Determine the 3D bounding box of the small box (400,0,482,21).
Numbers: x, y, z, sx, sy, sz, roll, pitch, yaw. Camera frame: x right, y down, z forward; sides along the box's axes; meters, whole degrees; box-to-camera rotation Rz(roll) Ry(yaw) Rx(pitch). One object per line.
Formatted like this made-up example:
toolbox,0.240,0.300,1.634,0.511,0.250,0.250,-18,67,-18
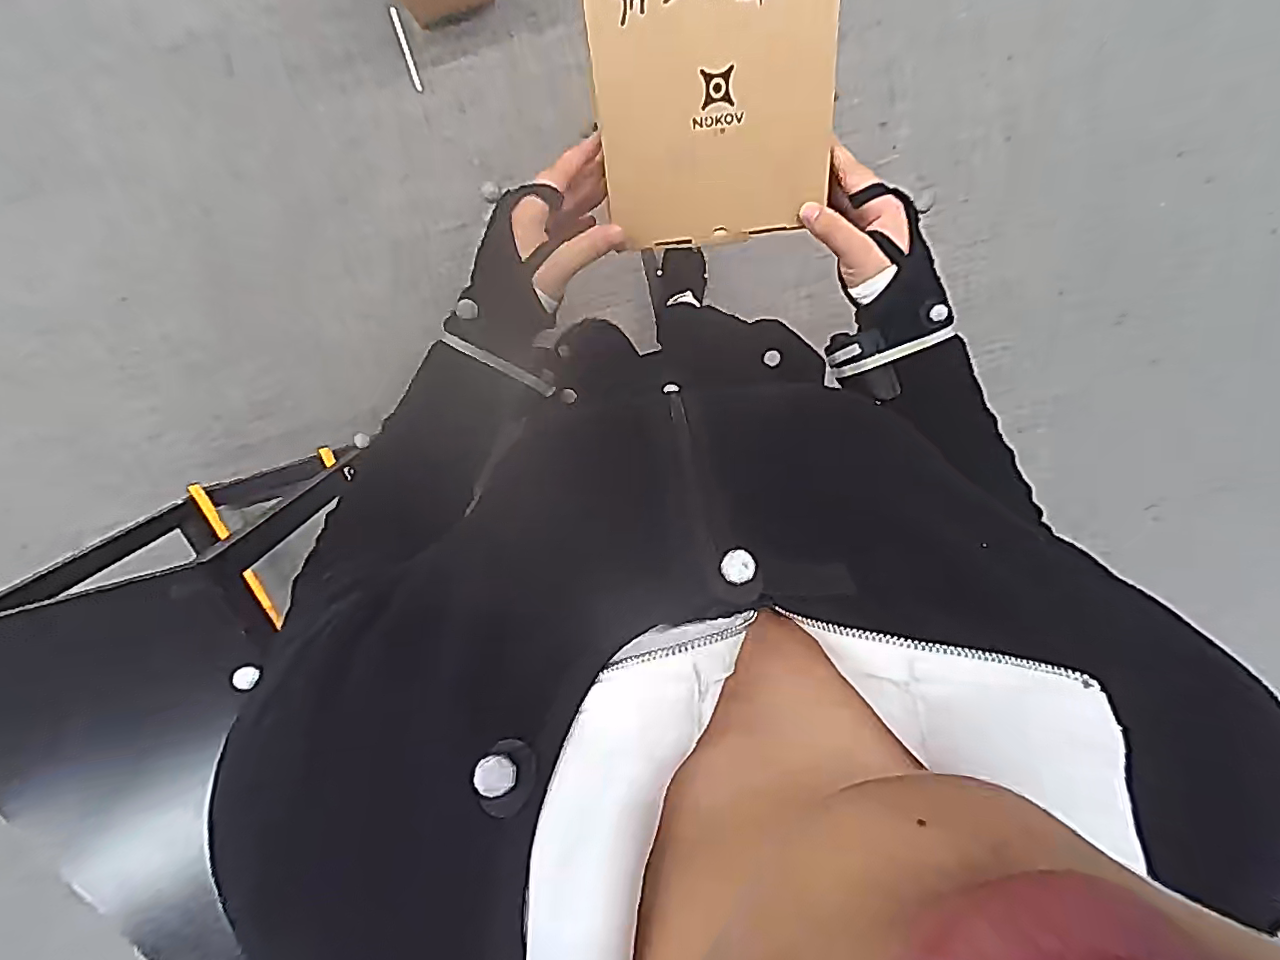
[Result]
small box,-0.402,-1.026,1.028,0.179,0.176,0.168,-16,111,5

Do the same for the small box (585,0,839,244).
small box,0.047,-0.309,0.442,0.168,0.176,0.179,-7,123,0
